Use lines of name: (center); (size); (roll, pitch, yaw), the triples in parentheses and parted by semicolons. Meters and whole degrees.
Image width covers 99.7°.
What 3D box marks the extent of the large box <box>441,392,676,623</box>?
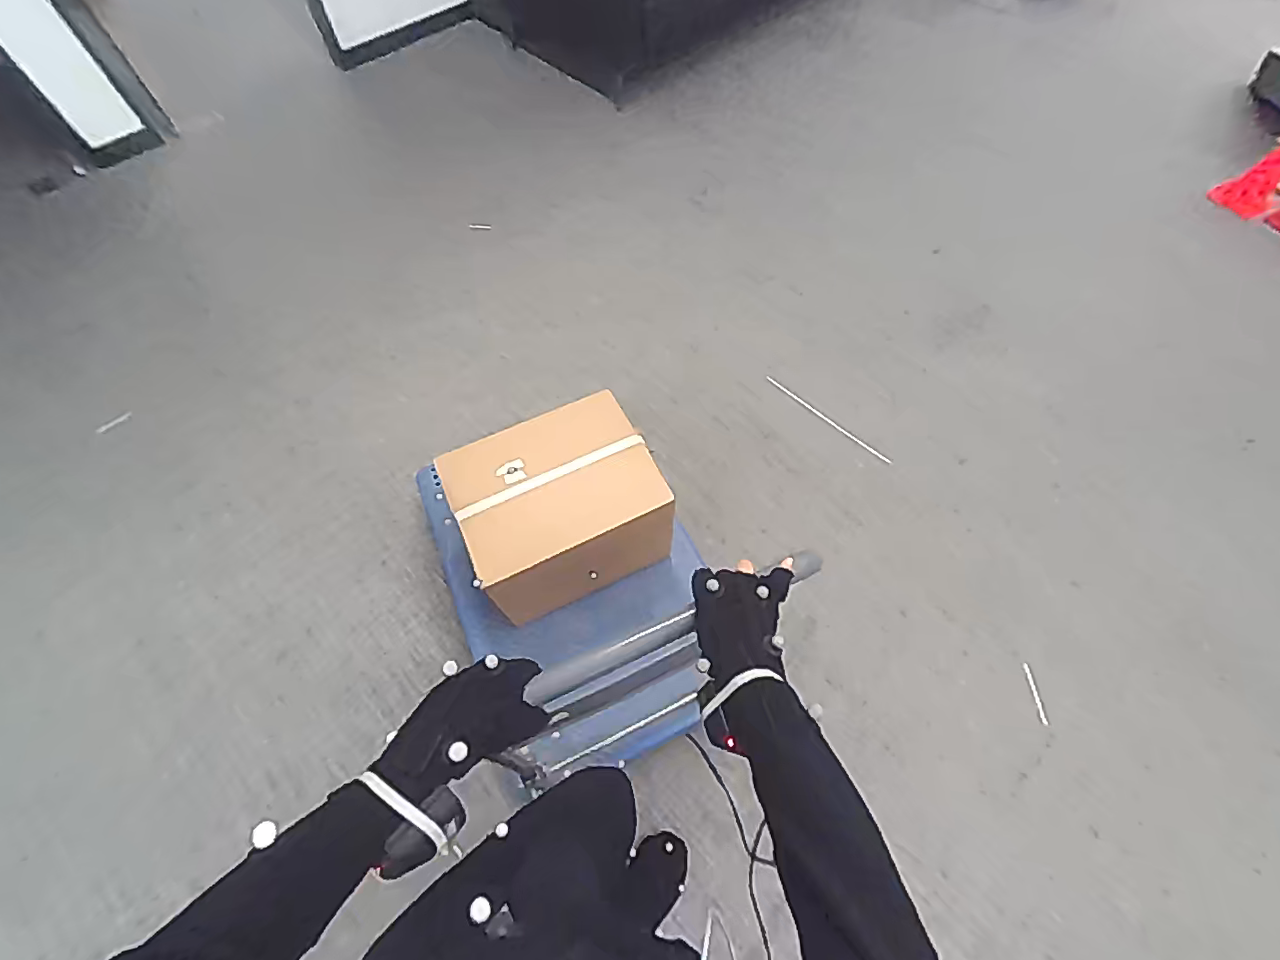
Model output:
large box: (-0.167, 0.070, 1.229); (0.408, 0.320, 0.320); (-25, 64, -12)
